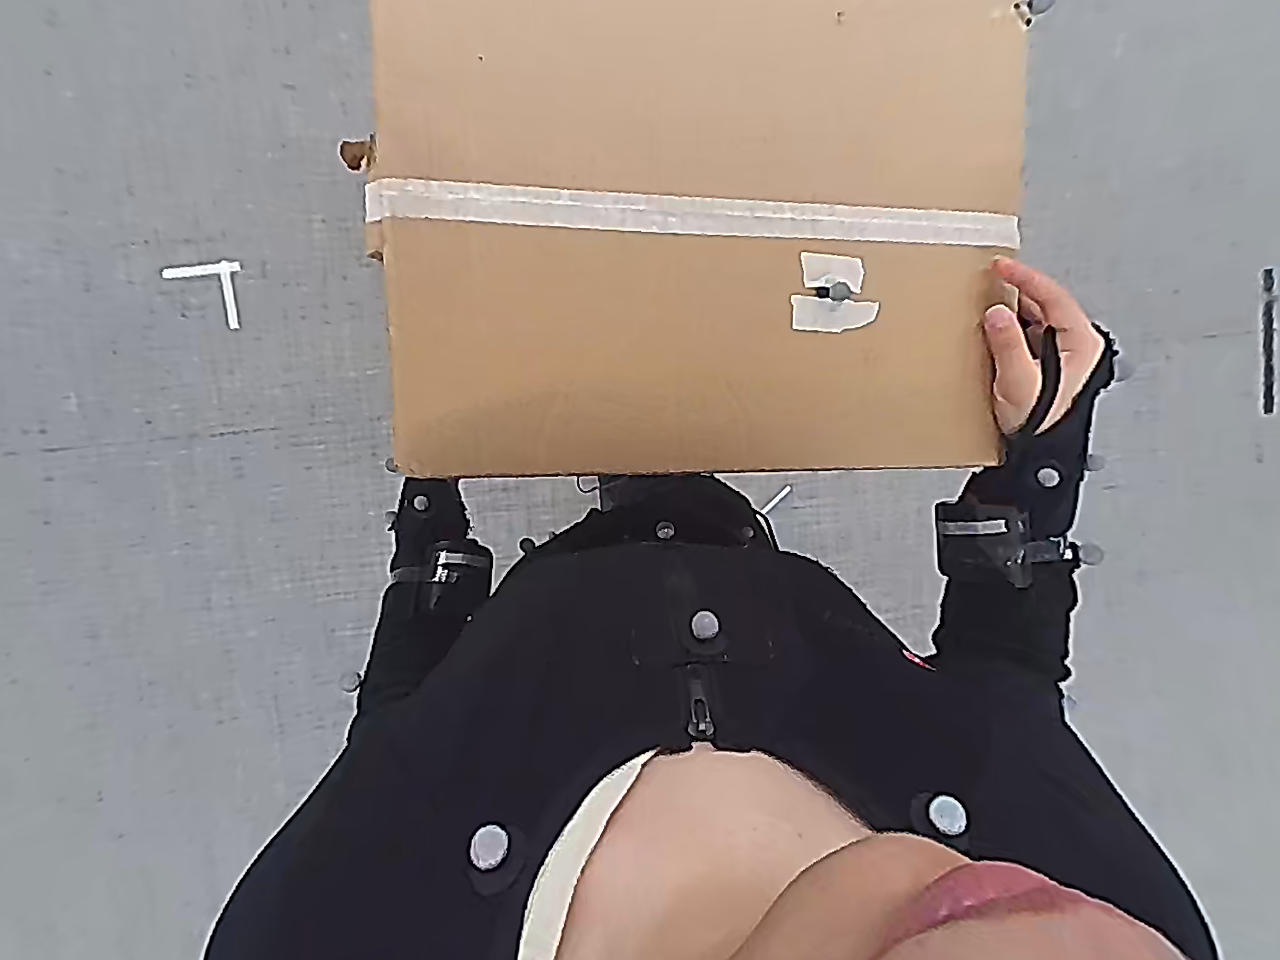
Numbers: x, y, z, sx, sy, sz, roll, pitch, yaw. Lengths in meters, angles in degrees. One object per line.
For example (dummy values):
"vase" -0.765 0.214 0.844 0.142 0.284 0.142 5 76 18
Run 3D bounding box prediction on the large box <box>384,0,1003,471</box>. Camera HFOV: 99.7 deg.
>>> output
"large box" 0.027 -0.179 0.491 0.408 0.320 0.320 -2 96 -11
